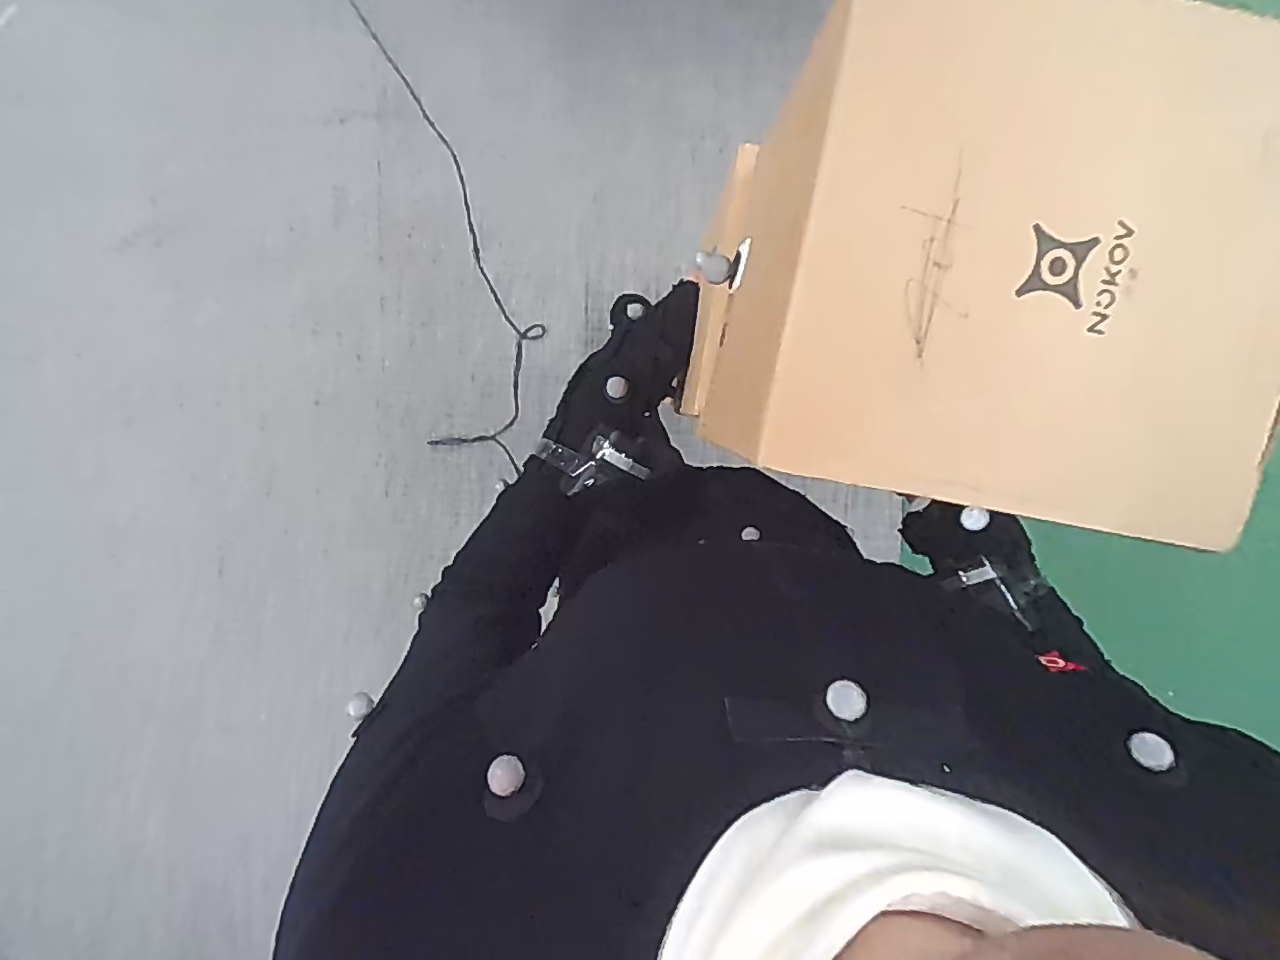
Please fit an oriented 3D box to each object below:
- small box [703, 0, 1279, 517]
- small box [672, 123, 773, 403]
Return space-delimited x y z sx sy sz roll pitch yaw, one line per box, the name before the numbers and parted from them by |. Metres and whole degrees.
small box | 0.138 -0.090 0.258 0.179 0.176 0.168 9 97 -2
small box | 0.130 -0.131 0.415 0.179 0.176 0.168 9 97 -3
